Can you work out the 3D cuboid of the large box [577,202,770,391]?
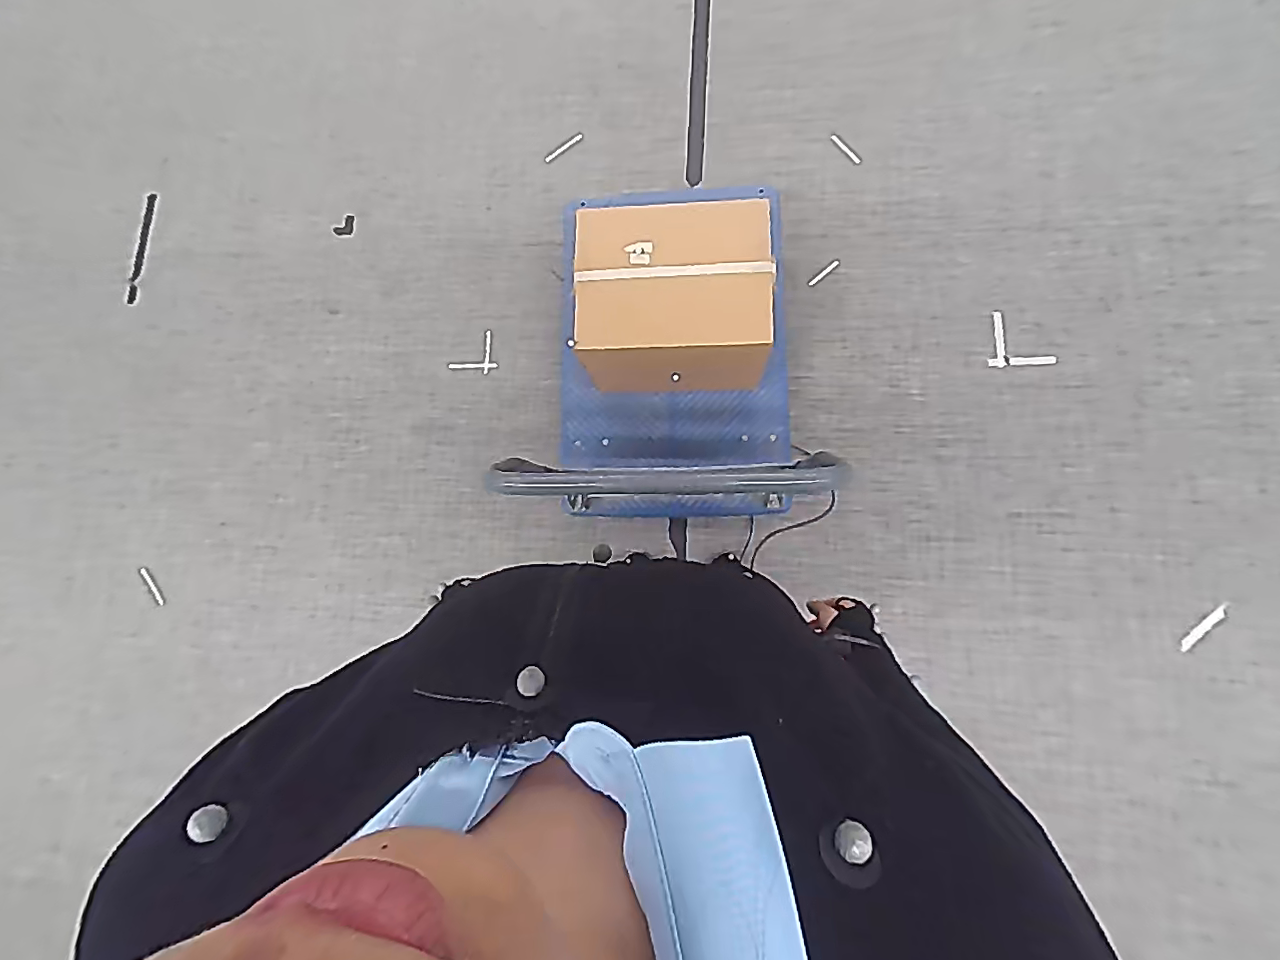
[{"bbox_3d":[0.083,-0.406,1.275,0.408,0.320,0.320,-1,81,7],"label":"large box"}]
